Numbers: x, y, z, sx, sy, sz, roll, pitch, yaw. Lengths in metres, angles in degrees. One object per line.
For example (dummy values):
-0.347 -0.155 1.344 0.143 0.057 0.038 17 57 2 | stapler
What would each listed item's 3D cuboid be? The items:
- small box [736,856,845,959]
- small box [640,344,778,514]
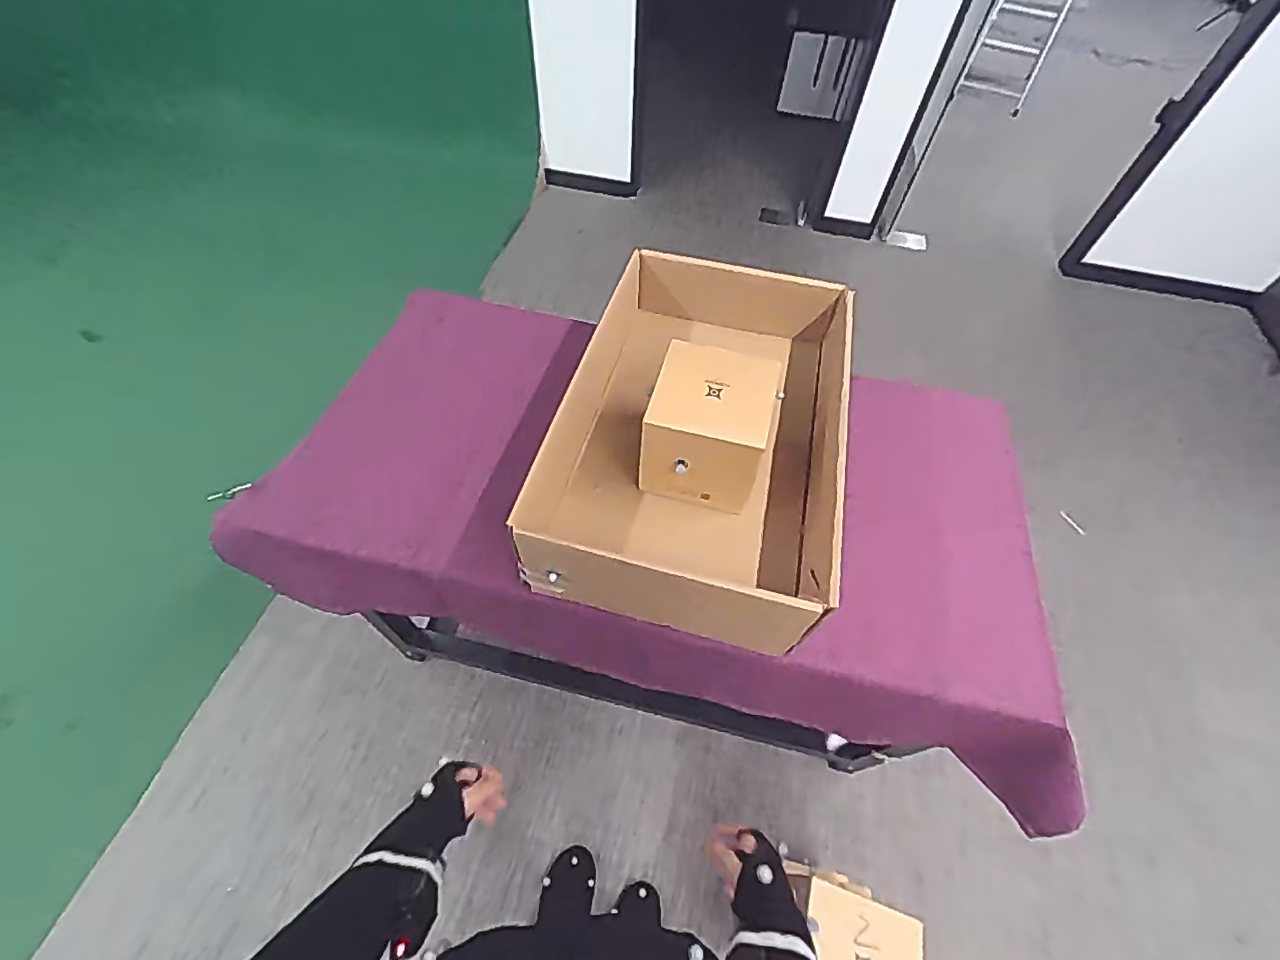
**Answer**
0.305 0.890 1.111 0.179 0.176 0.168 11 56 6 | small box
0.100 -0.072 0.817 0.168 0.176 0.179 13 55 7 | small box
